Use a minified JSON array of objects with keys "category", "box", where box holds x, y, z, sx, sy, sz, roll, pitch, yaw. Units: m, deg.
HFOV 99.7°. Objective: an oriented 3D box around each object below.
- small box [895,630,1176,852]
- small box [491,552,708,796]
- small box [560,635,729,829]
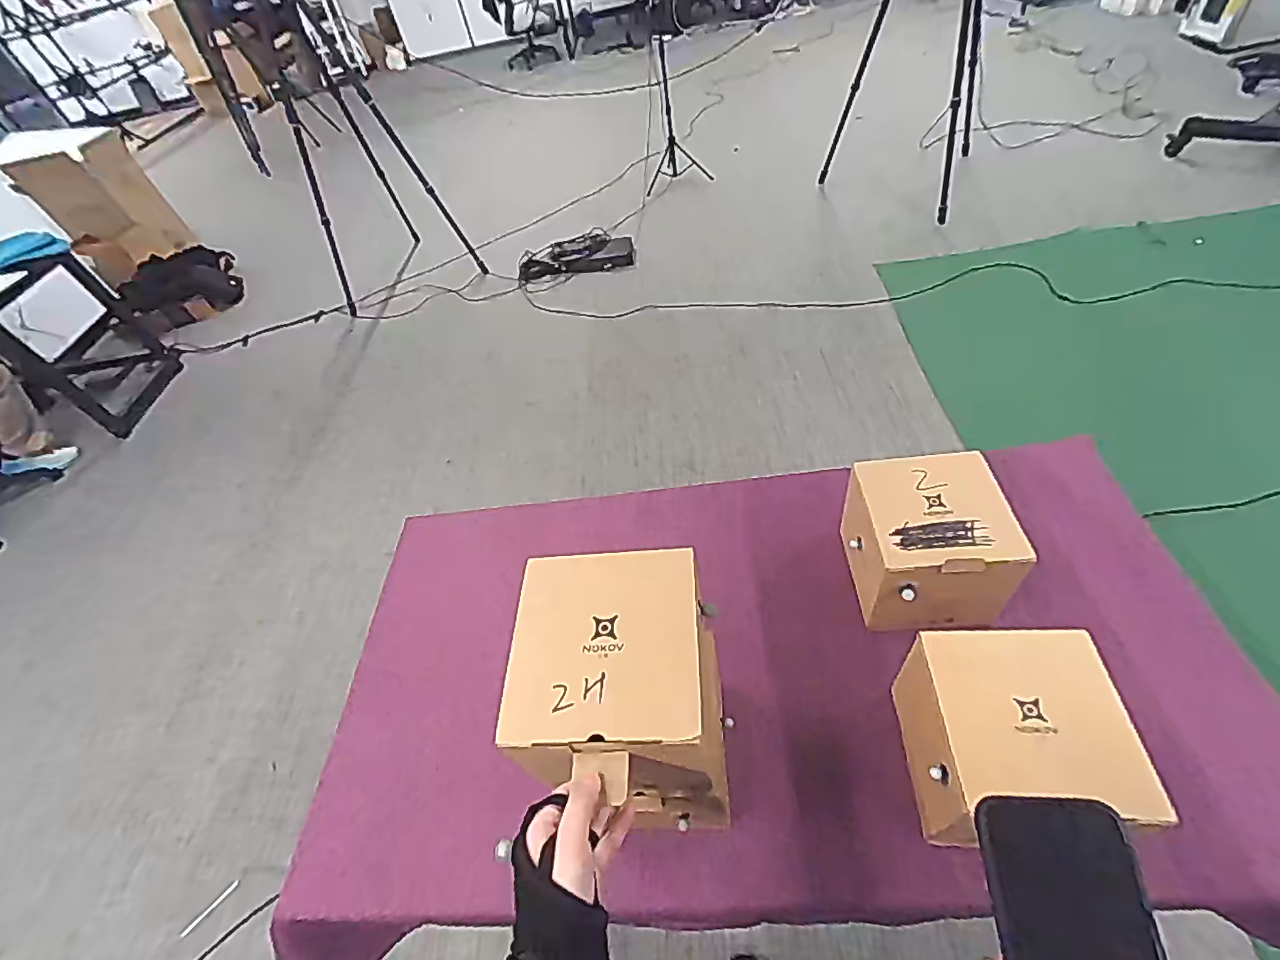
[{"category":"small box","box":[0.389,0.278,0.579,0.168,0.176,0.179,-4,50,11]},{"category":"small box","box":[-0.022,0.191,0.529,0.168,0.176,0.179,-5,49,9]},{"category":"small box","box":[0.016,0.304,0.644,0.168,0.176,0.179,-5,48,8]}]
